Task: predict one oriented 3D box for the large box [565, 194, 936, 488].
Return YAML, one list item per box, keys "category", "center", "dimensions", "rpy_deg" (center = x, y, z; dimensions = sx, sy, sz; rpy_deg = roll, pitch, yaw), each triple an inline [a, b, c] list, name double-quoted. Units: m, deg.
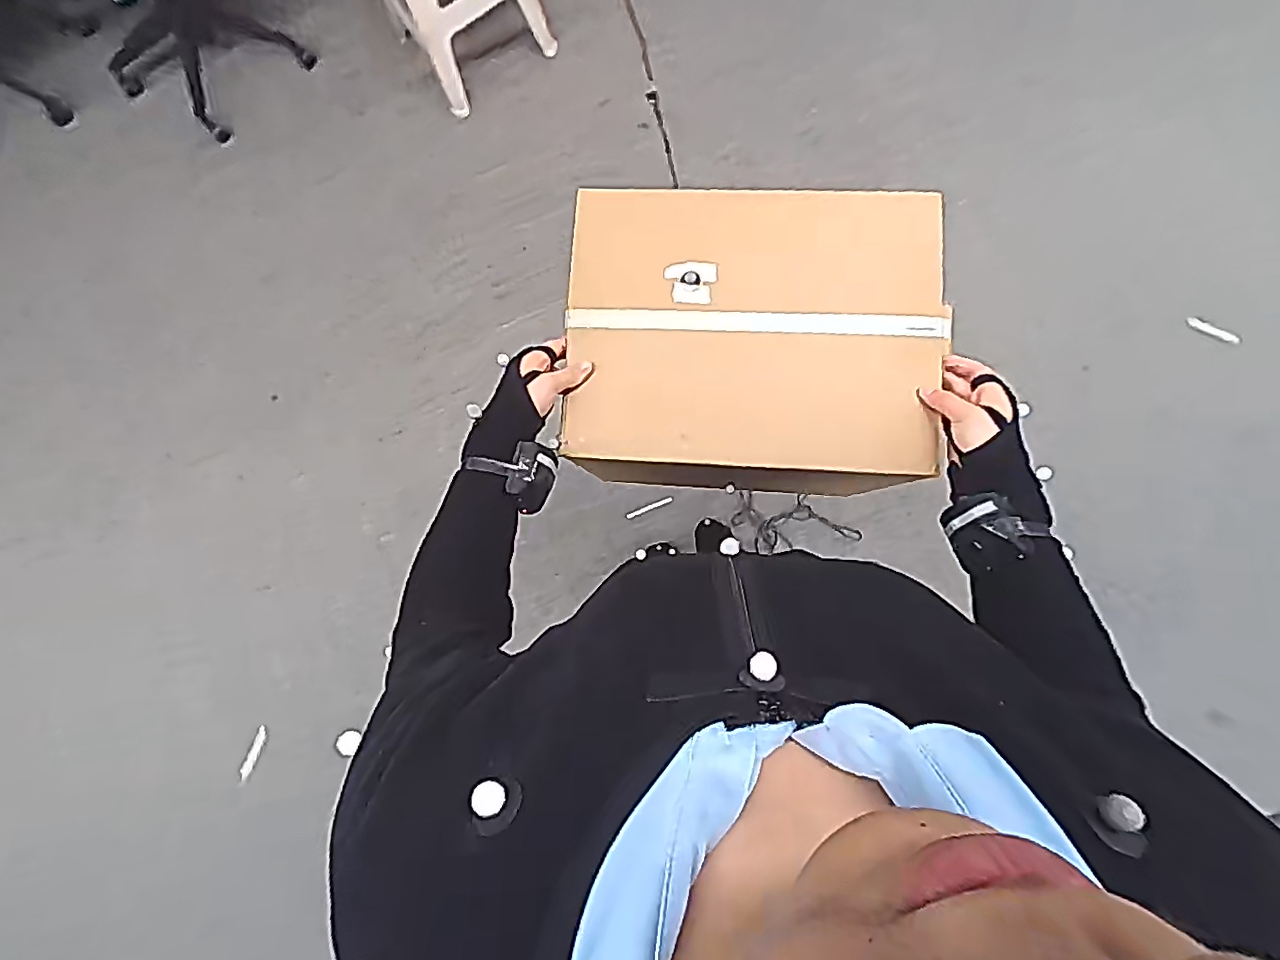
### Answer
- category: "large box"
  center: [0.137, -0.158, 0.749]
  dimensions: [0.408, 0.320, 0.320]
  rpy_deg: [4, 84, 6]
